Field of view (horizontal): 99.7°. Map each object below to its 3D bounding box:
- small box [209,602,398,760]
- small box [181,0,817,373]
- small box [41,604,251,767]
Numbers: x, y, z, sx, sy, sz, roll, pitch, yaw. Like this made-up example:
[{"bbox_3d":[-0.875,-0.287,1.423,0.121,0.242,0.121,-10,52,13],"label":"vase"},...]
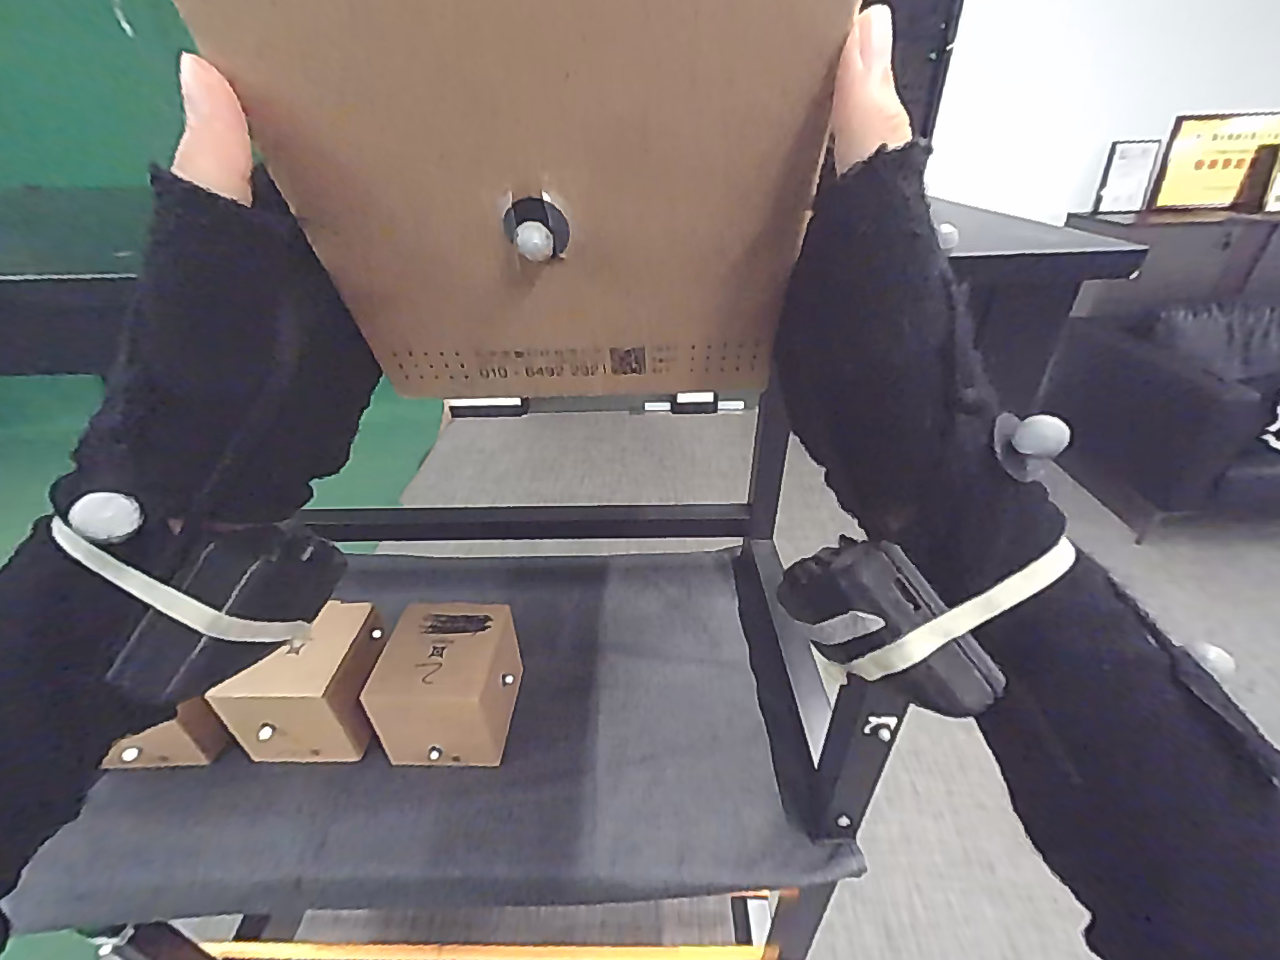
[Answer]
[{"bbox_3d":[-0.504,0.313,0.845,0.168,0.176,0.179,0,32,1],"label":"small box"},{"bbox_3d":[-0.031,-0.159,0.224,0.168,0.176,0.179,-1,54,0],"label":"small box"},{"bbox_3d":[-0.731,0.316,0.844,0.168,0.176,0.179,-2,33,-1],"label":"small box"}]
